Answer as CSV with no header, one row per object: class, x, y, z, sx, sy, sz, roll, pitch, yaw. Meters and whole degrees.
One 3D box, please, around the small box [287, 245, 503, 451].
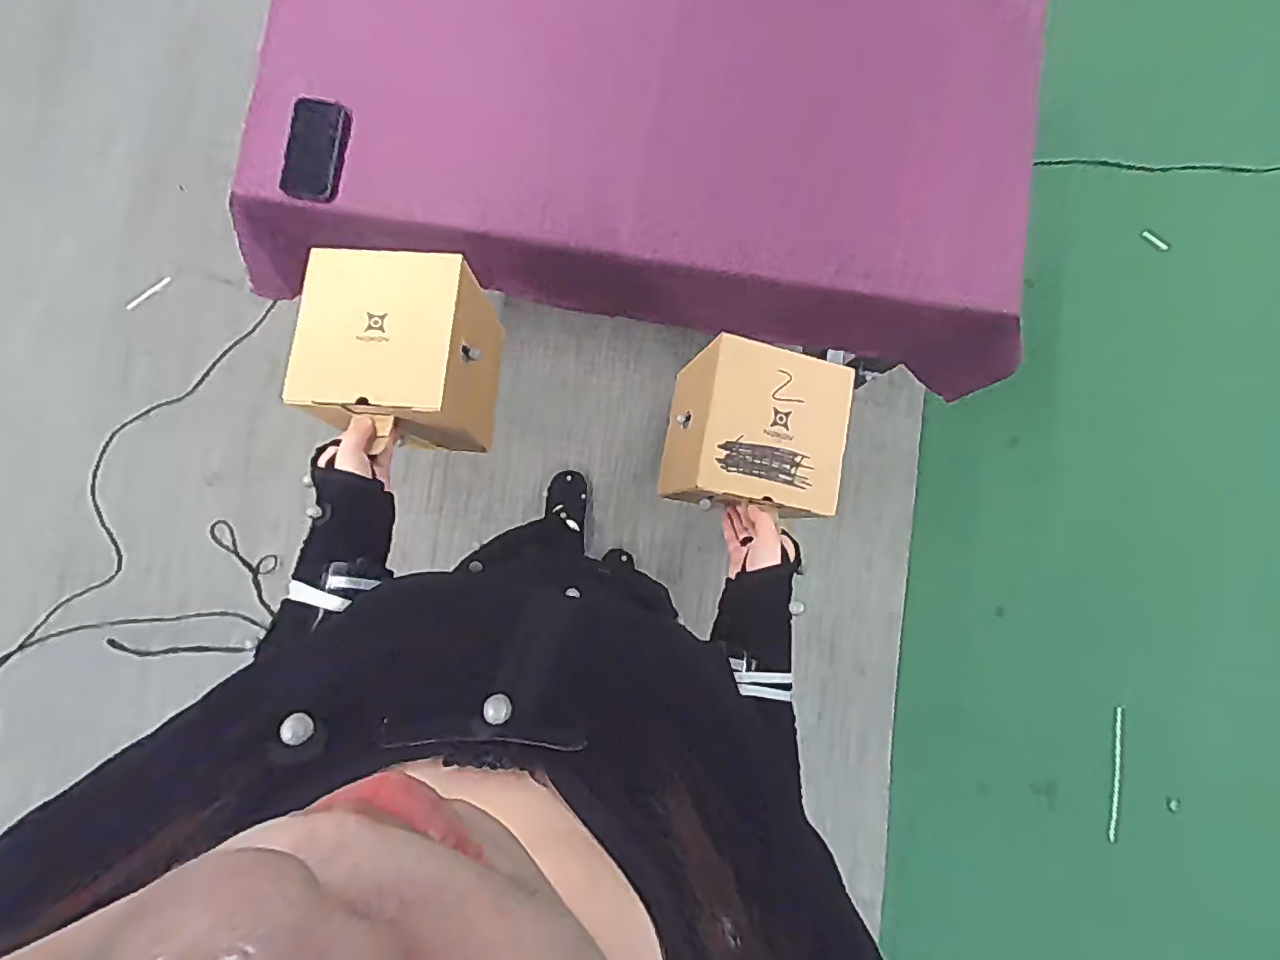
small box,-0.268,-0.144,0.636,0.168,0.176,0.179,4,80,1
